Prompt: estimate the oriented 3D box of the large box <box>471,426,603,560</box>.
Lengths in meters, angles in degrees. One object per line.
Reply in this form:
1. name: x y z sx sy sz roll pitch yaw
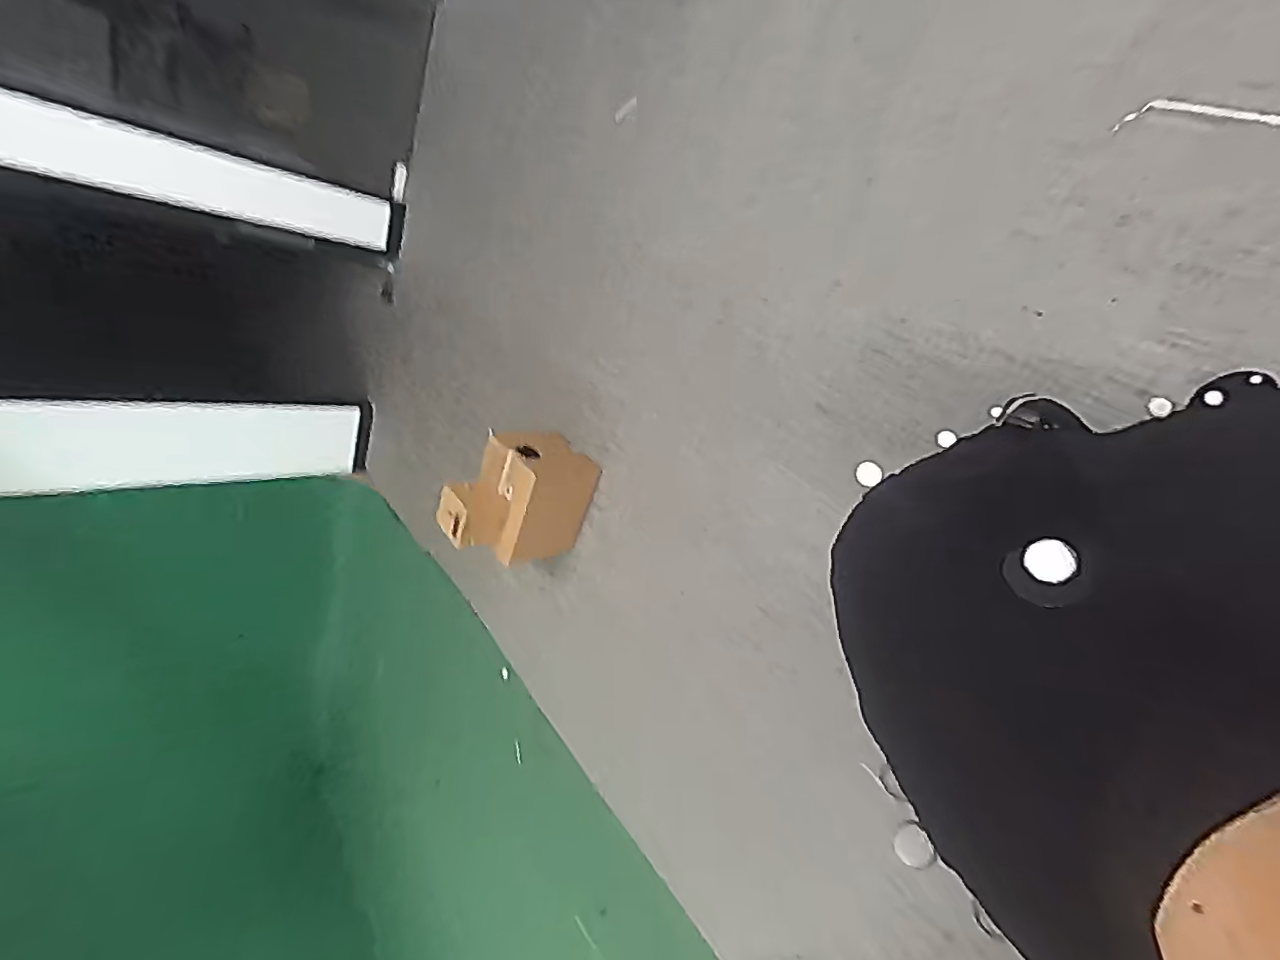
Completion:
1. large box: -0.399 0.040 2.083 0.320 0.320 0.408 39 118 32
